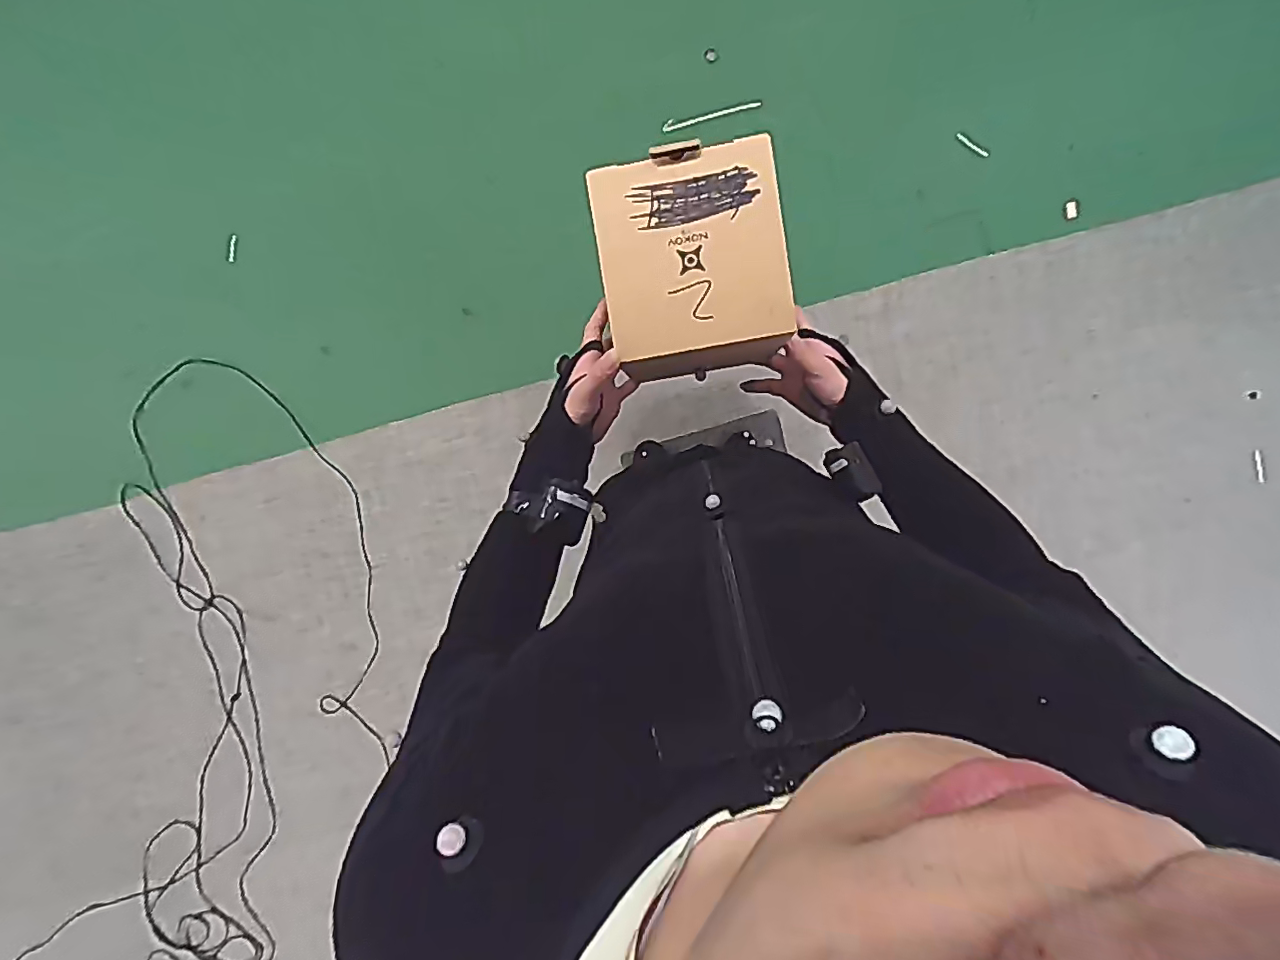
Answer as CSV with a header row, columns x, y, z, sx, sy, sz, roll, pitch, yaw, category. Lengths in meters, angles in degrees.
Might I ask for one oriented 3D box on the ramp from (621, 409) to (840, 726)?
x,y,z,sx,sy,sz,roll,pitch,yaw,category
0.311,0.312,1.713,0.509,0.206,0.991,-18,94,2,ramp
